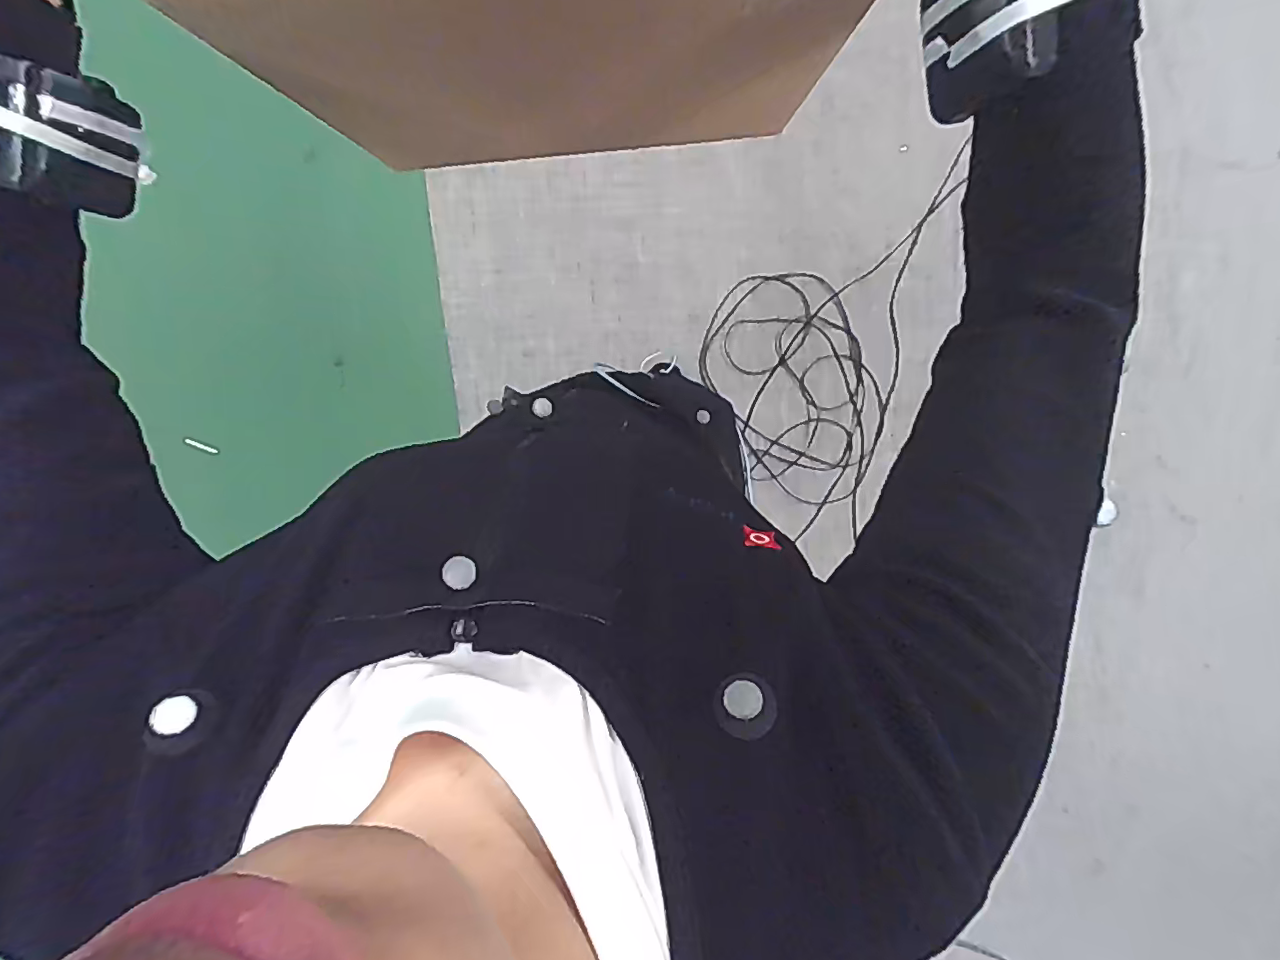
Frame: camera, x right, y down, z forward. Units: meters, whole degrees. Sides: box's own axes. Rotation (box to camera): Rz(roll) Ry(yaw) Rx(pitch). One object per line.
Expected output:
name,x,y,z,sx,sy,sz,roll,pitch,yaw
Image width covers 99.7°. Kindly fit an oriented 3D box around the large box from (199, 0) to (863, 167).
large box,-0.064,-0.452,0.378,0.408,0.320,0.320,-5,105,0
